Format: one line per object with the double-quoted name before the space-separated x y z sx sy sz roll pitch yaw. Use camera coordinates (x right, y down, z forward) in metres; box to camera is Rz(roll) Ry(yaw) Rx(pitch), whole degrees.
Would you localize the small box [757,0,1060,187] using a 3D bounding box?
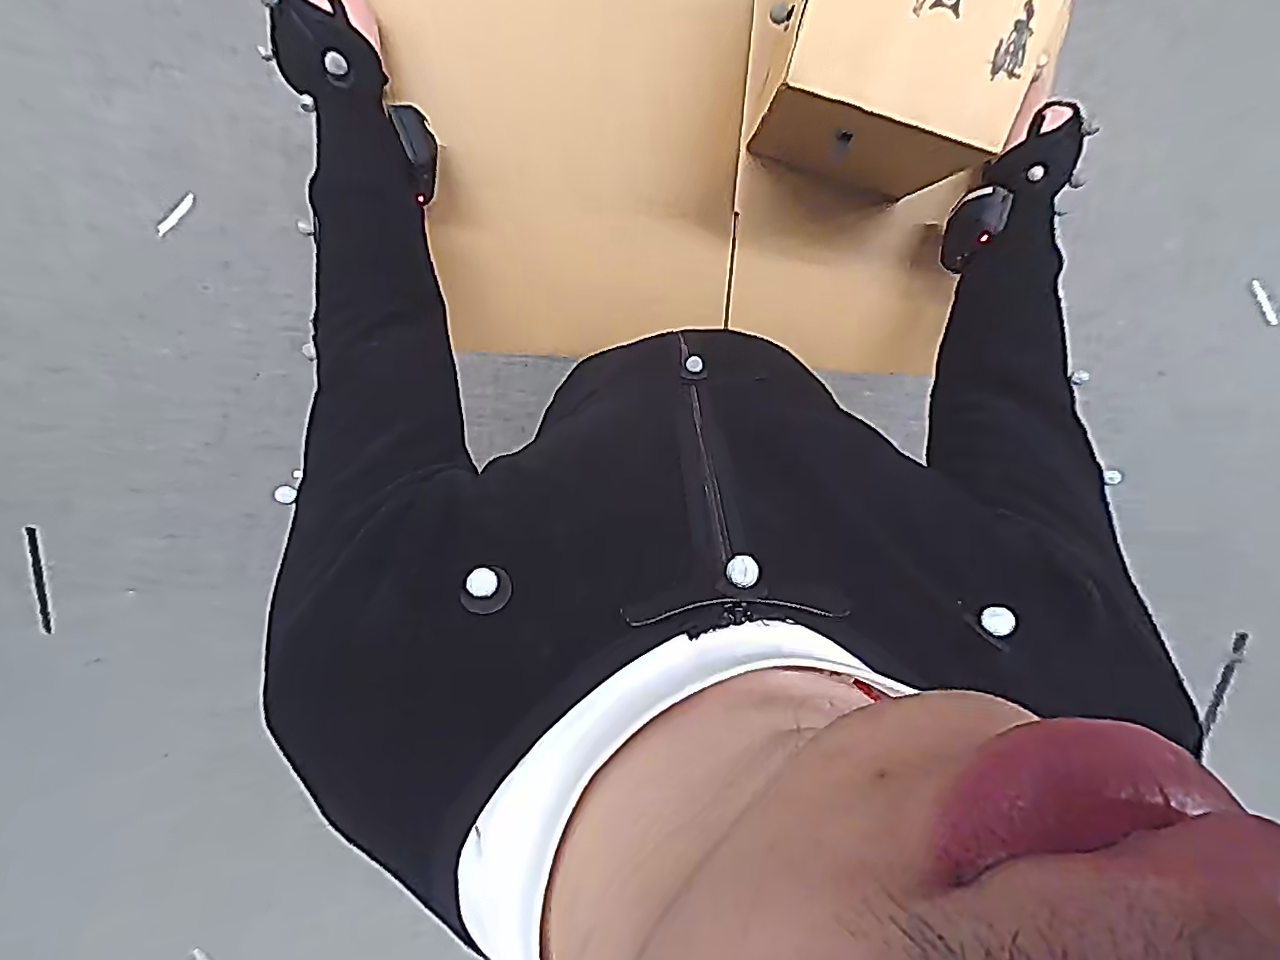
"small box" 0.214 -0.373 0.460 0.179 0.176 0.168 16 107 -3
